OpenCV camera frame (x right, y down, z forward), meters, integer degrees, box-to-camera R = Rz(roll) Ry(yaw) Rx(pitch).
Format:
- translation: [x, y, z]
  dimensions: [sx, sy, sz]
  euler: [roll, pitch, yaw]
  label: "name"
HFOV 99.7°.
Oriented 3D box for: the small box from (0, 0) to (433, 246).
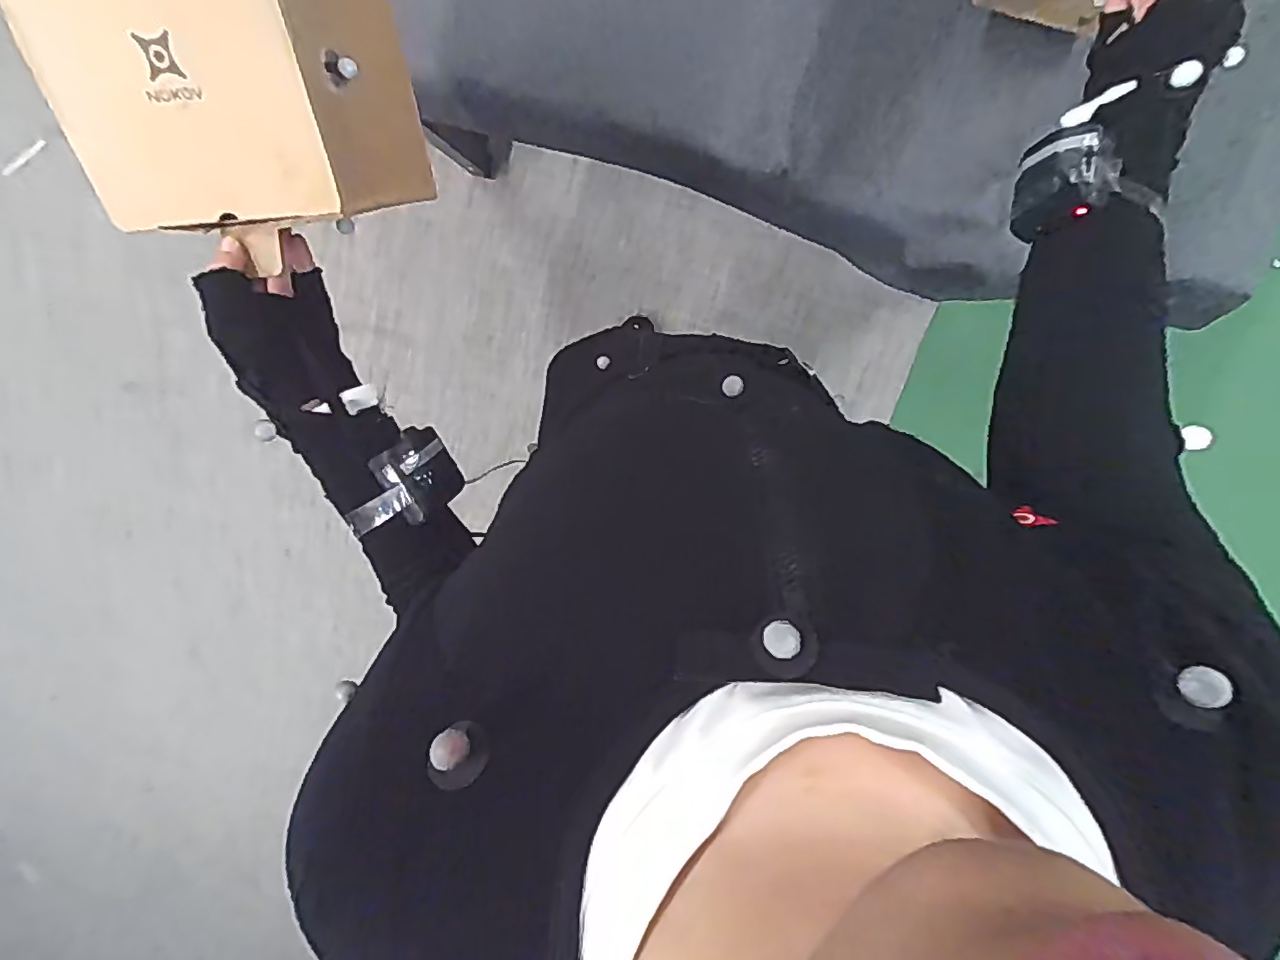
- translation: [-0.272, -0.278, 0.386]
  dimensions: [0.168, 0.176, 0.179]
  euler: [-3, 120, 5]
  label: "small box"
